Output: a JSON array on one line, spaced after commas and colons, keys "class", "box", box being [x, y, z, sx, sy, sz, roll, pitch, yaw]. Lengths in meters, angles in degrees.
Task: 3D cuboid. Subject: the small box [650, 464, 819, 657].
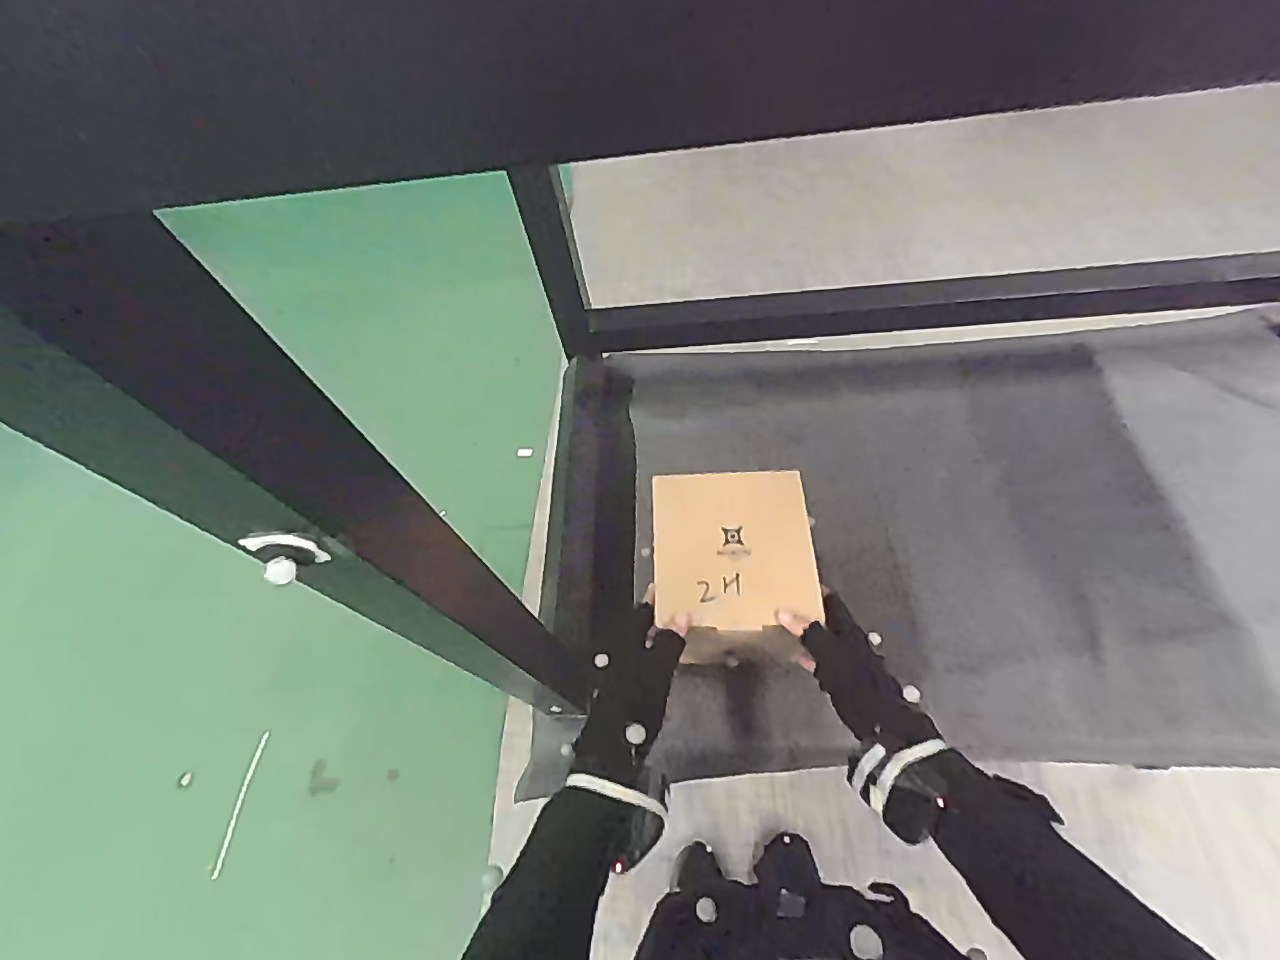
[{"class": "small box", "box": [0.097, 0.100, 0.633, 0.168, 0.176, 0.179, -3, 60, 4]}]
